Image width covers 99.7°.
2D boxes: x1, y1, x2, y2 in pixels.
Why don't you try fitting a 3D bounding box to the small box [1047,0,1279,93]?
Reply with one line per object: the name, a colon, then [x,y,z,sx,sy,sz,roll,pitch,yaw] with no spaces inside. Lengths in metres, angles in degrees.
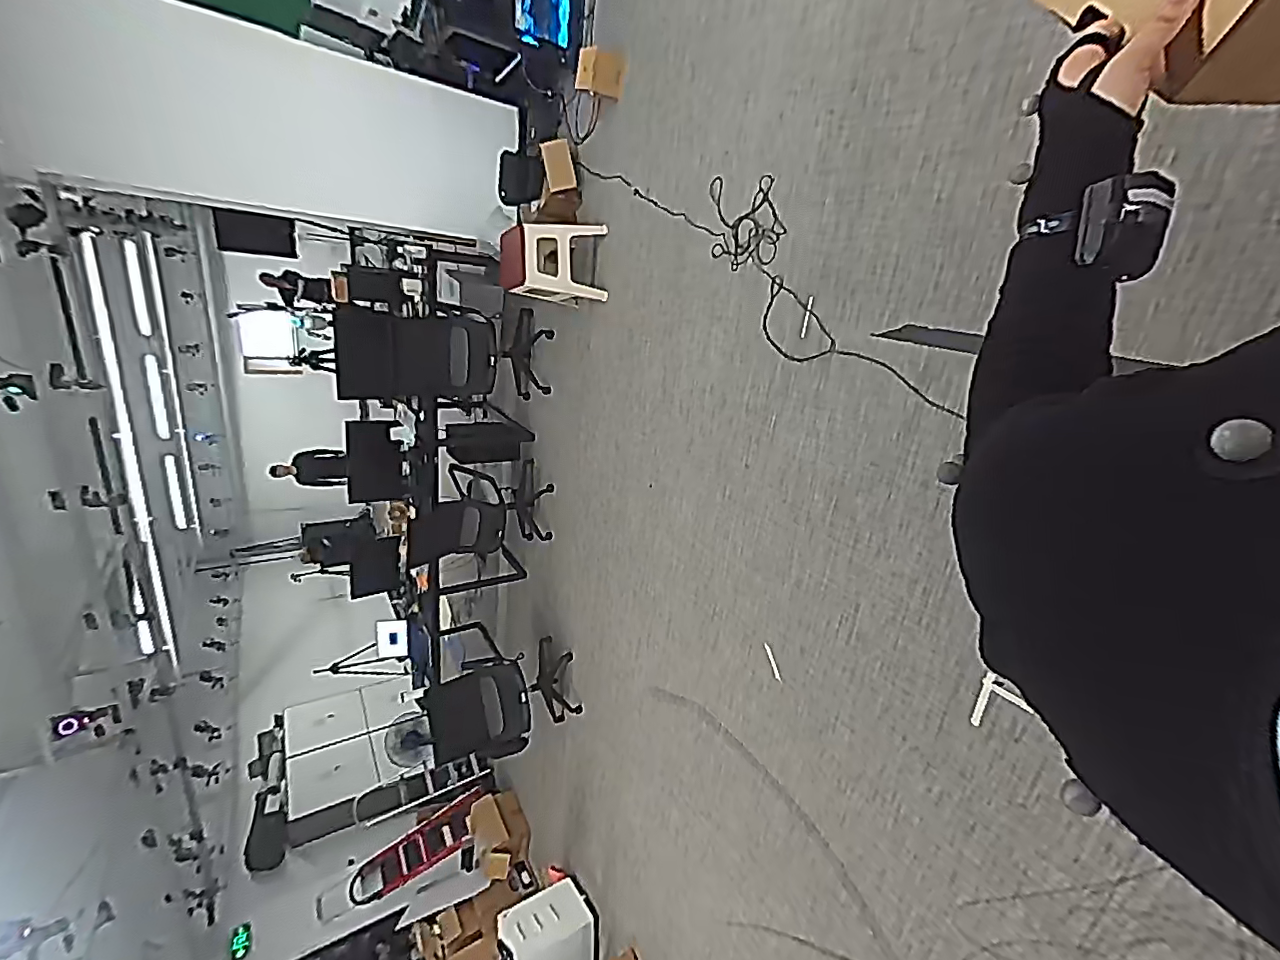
small box: [0.444,-0.409,0.379,0.179,0.176,0.168,112,140,-59]
